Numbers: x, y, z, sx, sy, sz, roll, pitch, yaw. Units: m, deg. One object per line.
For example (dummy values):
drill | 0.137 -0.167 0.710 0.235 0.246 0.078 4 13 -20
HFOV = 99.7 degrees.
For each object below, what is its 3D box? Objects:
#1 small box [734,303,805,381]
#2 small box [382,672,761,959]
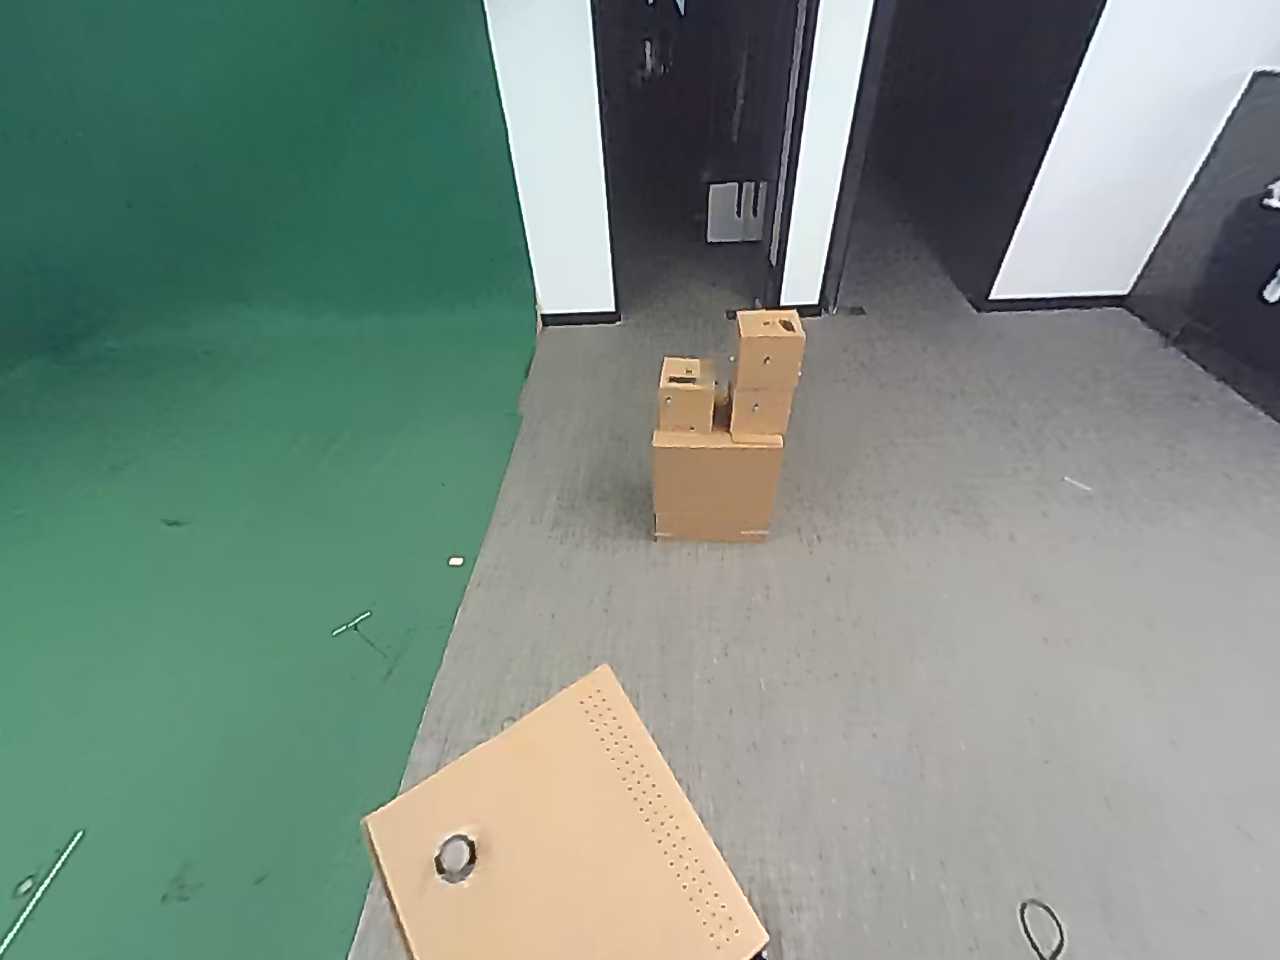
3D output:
small box | 0.369 -0.399 1.573 0.179 0.176 0.168 0 44 5
small box | -0.046 0.256 0.385 0.176 0.168 0.179 -29 68 -17
